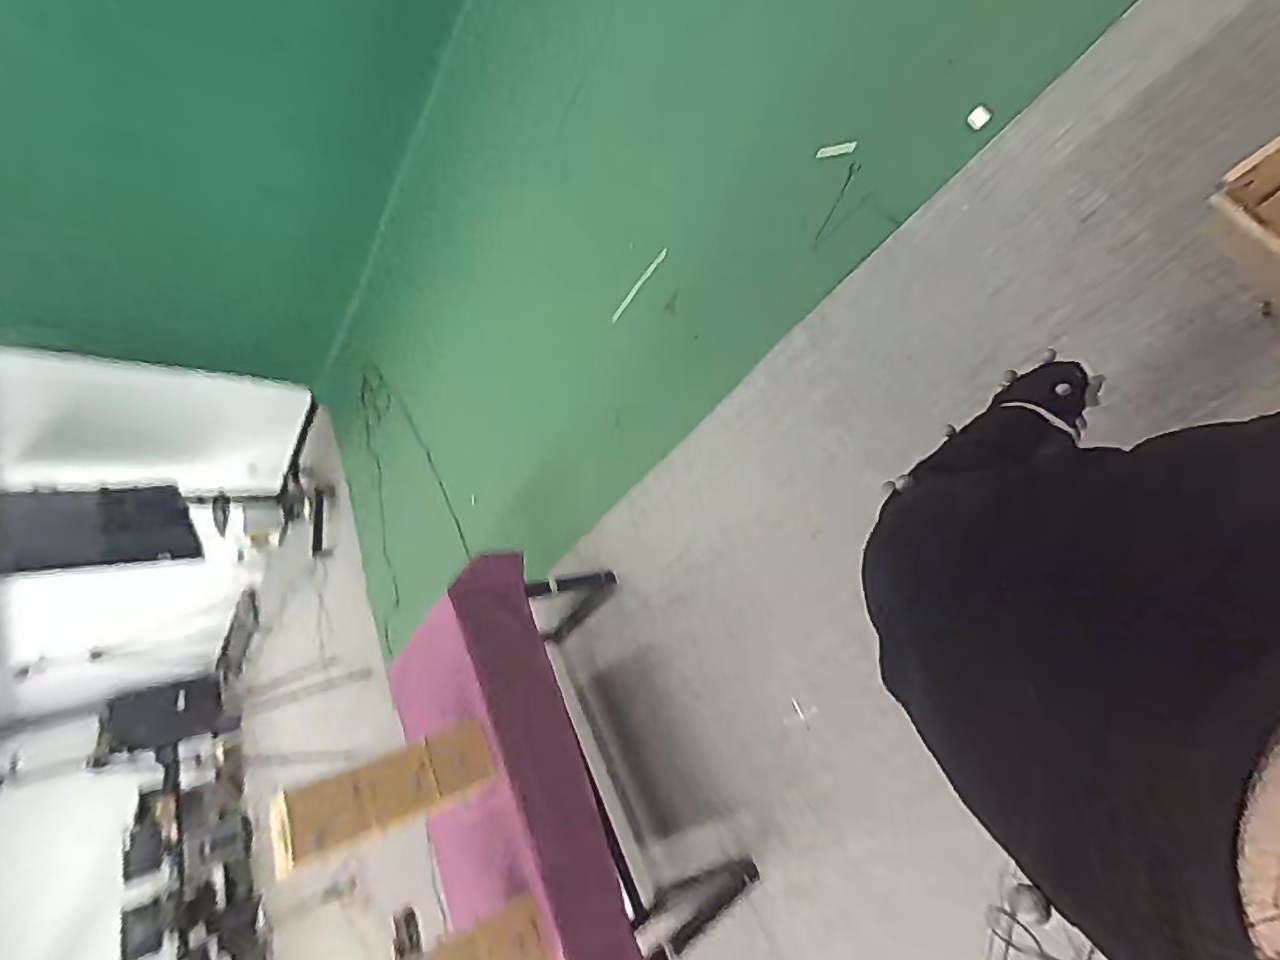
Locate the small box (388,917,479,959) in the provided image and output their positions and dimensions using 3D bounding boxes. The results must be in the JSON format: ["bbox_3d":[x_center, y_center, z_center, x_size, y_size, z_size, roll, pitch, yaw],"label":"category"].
[{"bbox_3d":[-0.470,1.151,1.232,0.168,0.176,0.179,-47,58,33],"label":"small box"}]

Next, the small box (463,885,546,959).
[{"bbox_3d":[-0.356,1.154,1.350,0.179,0.176,0.168,-47,58,34],"label":"small box"}]

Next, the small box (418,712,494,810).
[{"bbox_3d":[-0.542,0.794,1.542,0.168,0.176,0.179,-48,59,32],"label":"small box"}]

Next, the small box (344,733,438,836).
[{"bbox_3d":[-0.659,0.799,1.428,0.179,0.176,0.168,-46,59,33],"label":"small box"}]
